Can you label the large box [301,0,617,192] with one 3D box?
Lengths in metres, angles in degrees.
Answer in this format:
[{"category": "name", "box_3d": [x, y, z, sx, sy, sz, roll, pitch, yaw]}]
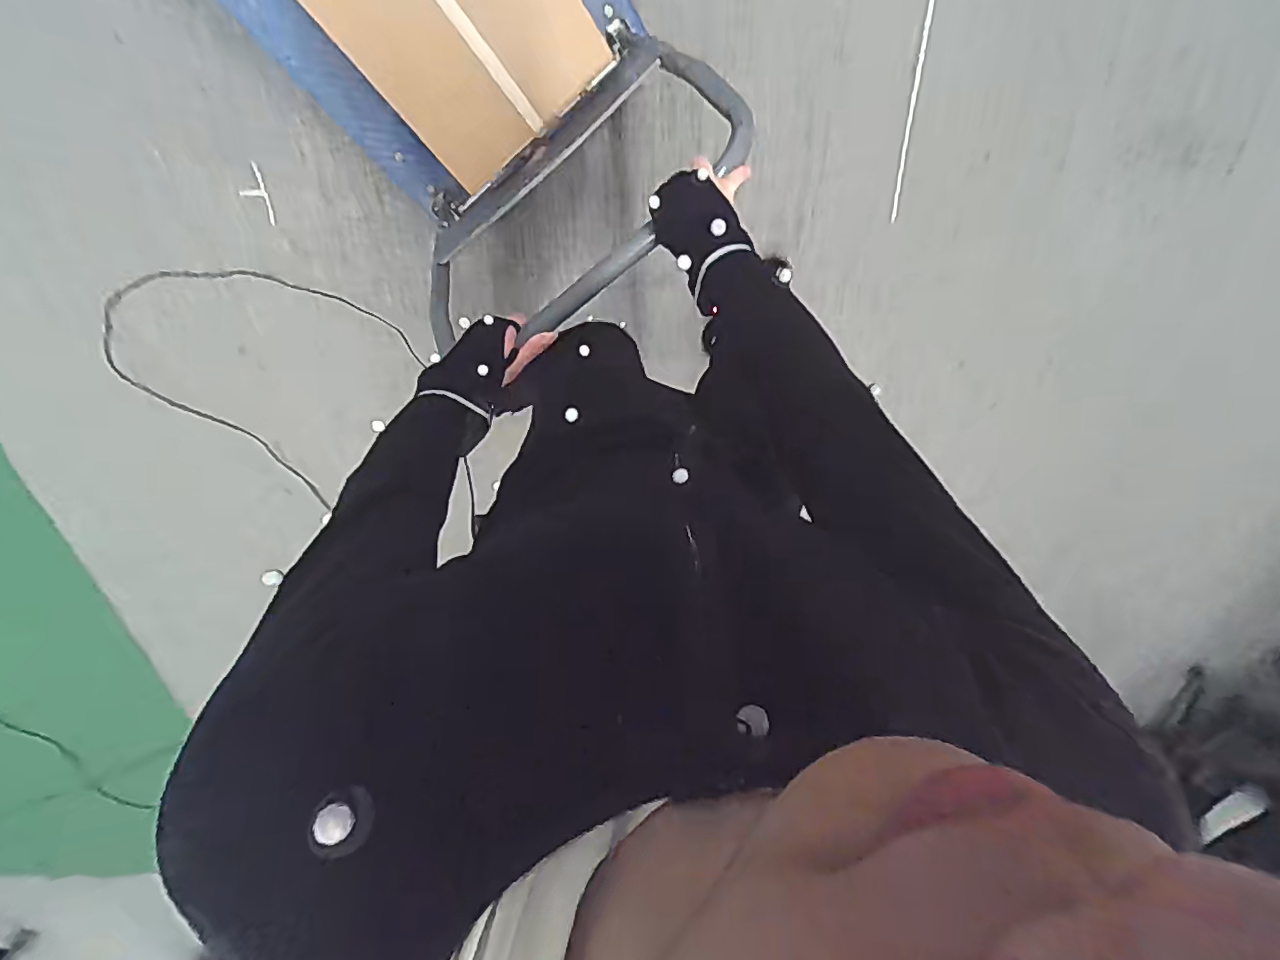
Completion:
[{"category": "large box", "box_3d": [-0.292, -0.761, 0.855, 0.320, 0.320, 0.408, -35, 128, 16]}]
